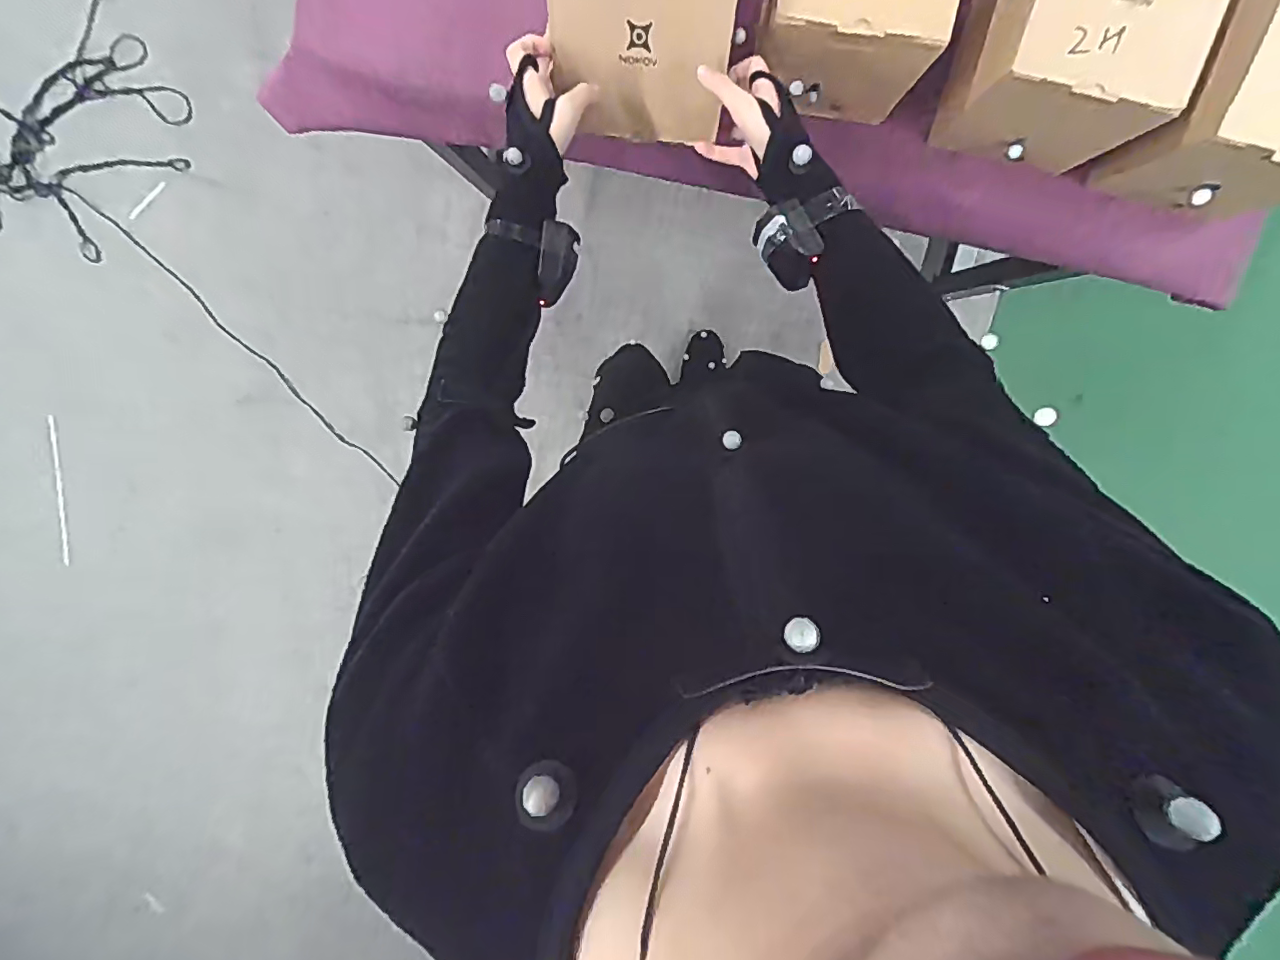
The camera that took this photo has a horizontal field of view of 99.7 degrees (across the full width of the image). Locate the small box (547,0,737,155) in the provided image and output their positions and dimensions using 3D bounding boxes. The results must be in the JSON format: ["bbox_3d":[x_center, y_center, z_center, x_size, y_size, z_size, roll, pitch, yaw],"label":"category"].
[{"bbox_3d":[0.009,-0.459,0.528,0.168,0.179,0.176,7,60,2],"label":"small box"}]
